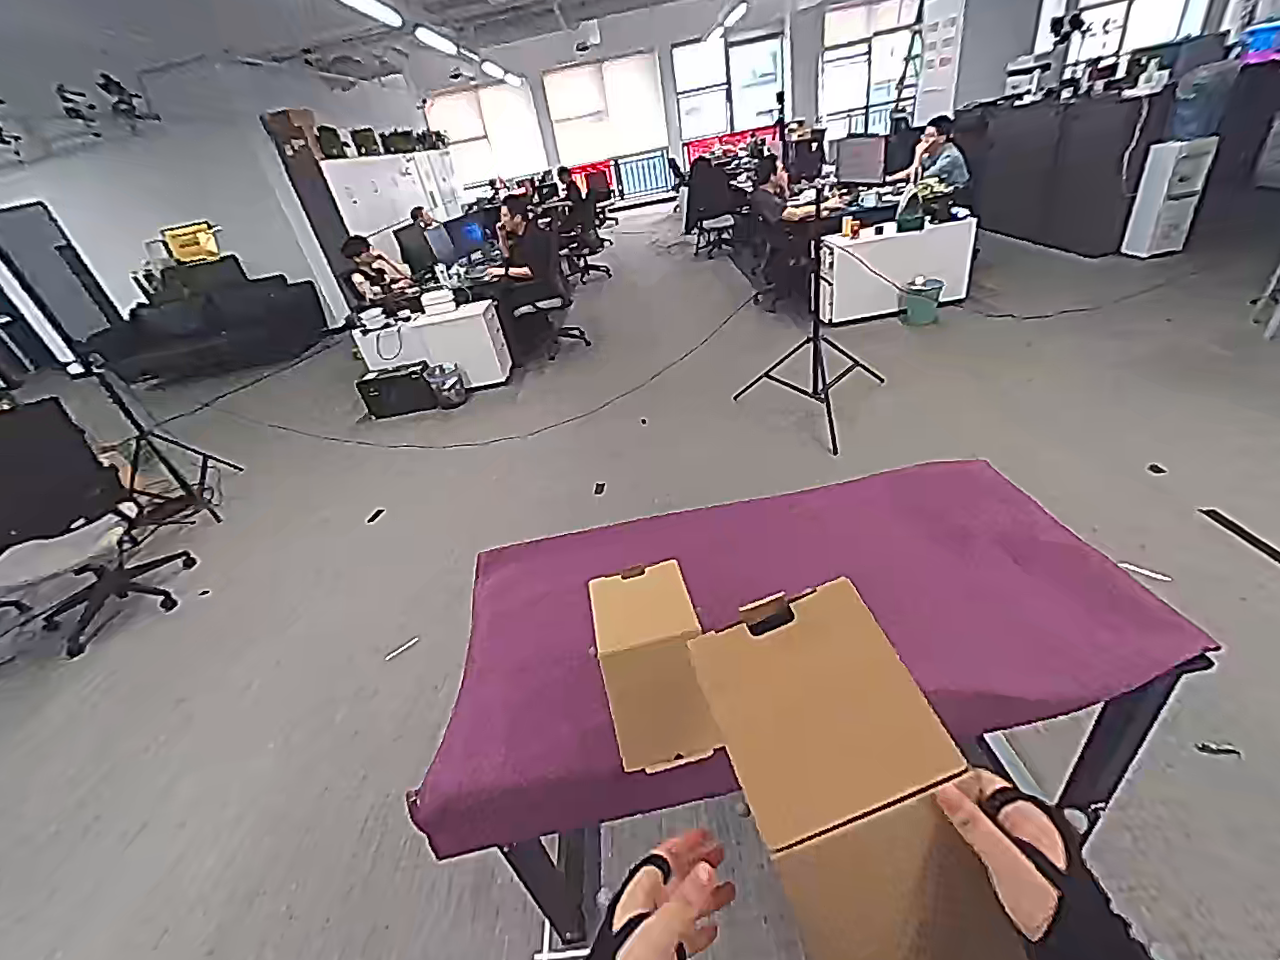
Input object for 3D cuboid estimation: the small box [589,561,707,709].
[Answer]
[{"bbox_3d":[0.013,0.275,0.948,0.168,0.176,0.179,-13,31,-3],"label":"small box"}]
